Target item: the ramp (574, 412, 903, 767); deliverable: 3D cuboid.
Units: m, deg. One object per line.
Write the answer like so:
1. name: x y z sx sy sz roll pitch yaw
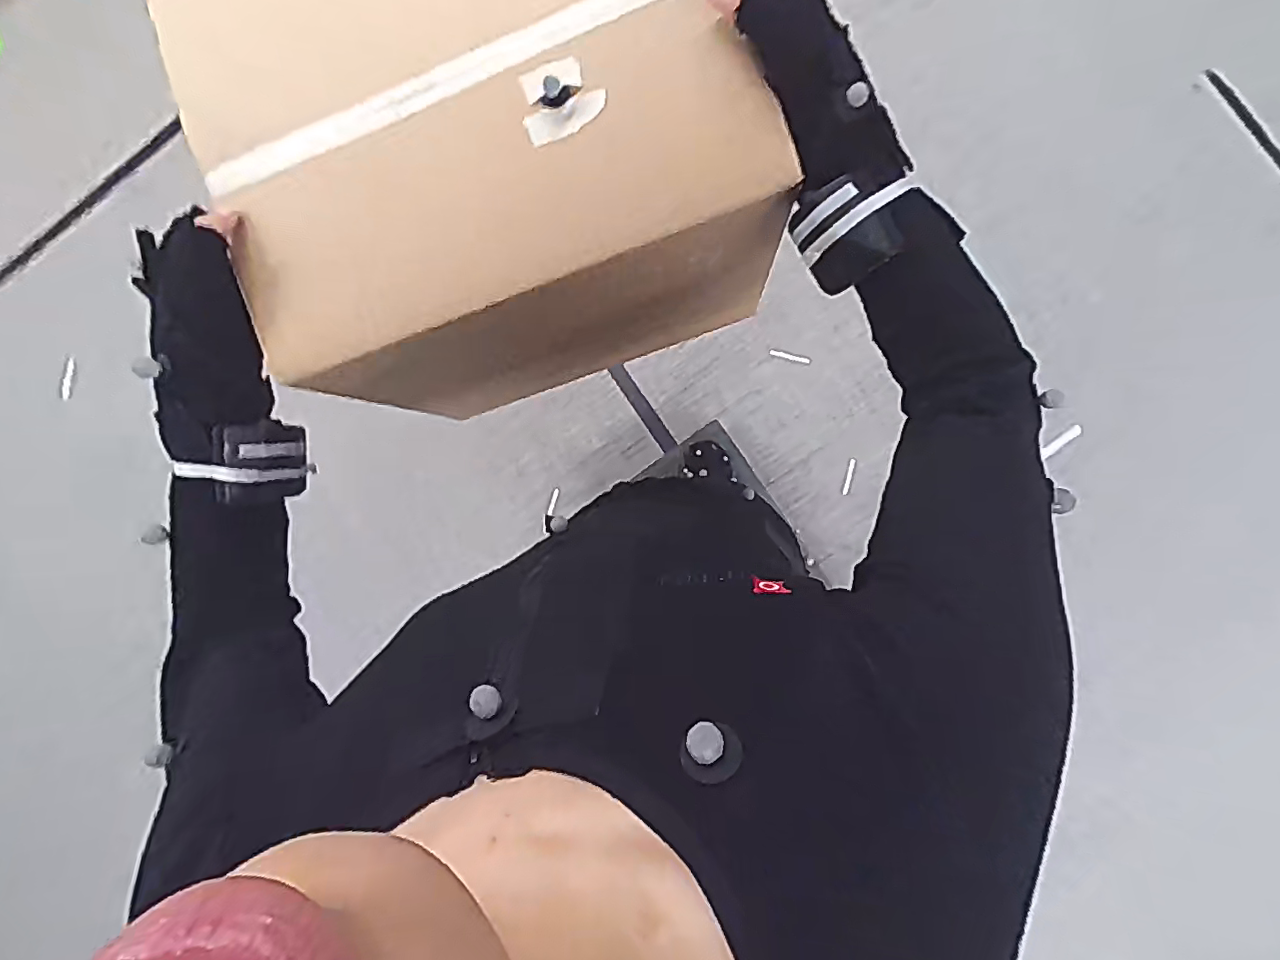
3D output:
1. ramp: 0.303 0.341 1.552 0.509 0.206 0.991 -38 89 3

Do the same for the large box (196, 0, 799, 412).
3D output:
1. large box: -0.106 -0.292 0.549 0.408 0.320 0.320 -18 89 6
